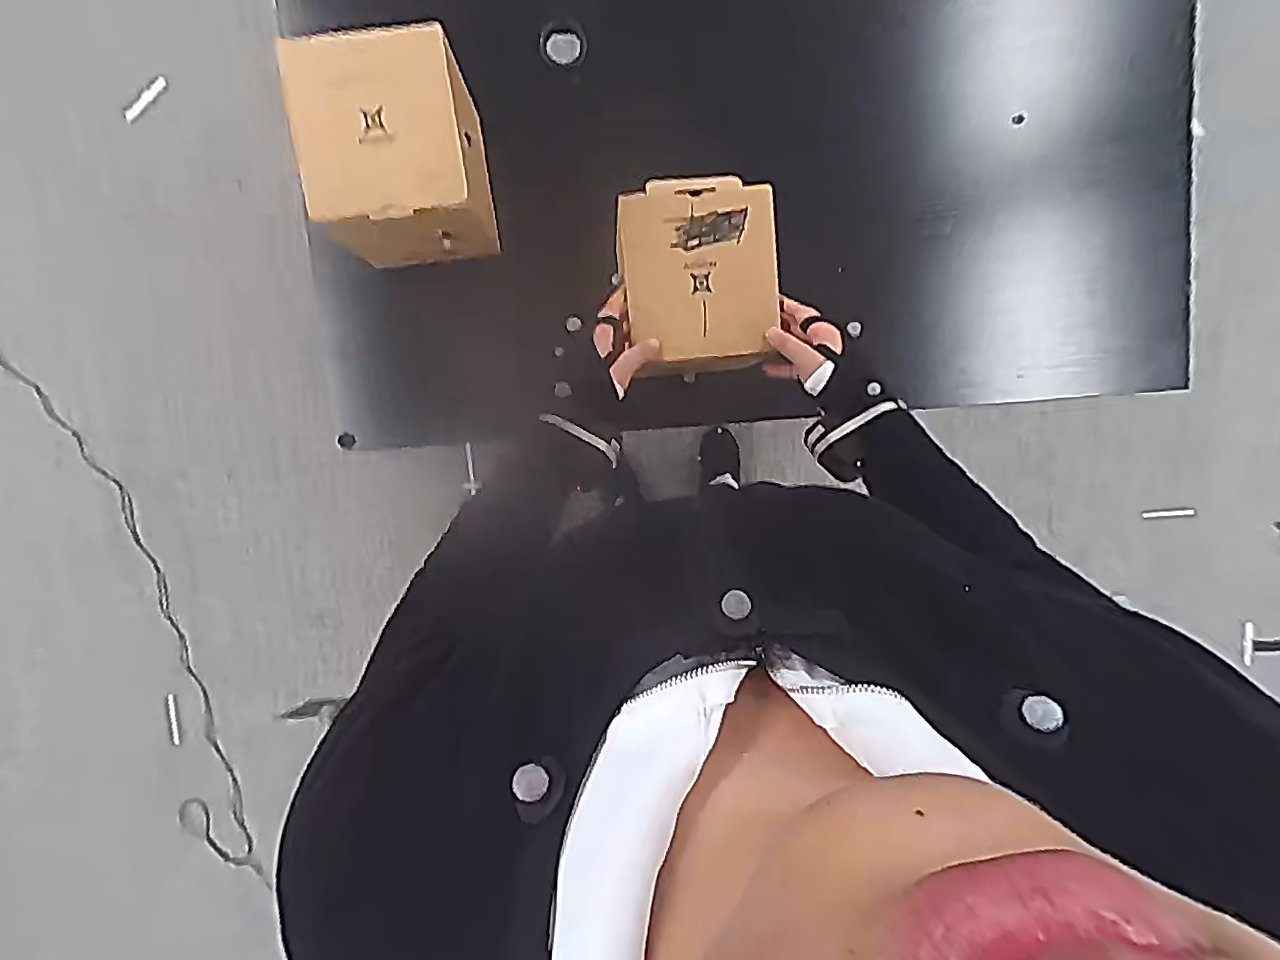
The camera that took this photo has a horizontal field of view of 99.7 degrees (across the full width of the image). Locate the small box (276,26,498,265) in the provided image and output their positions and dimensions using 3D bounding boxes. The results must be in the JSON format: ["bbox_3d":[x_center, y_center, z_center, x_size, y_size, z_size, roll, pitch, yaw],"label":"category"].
[{"bbox_3d":[-0.269,-0.360,0.619,0.168,0.176,0.179,-9,95,-4],"label":"small box"}]

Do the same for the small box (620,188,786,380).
[{"bbox_3d":[0.066,-0.221,0.650,0.168,0.176,0.179,-5,96,-2],"label":"small box"}]
